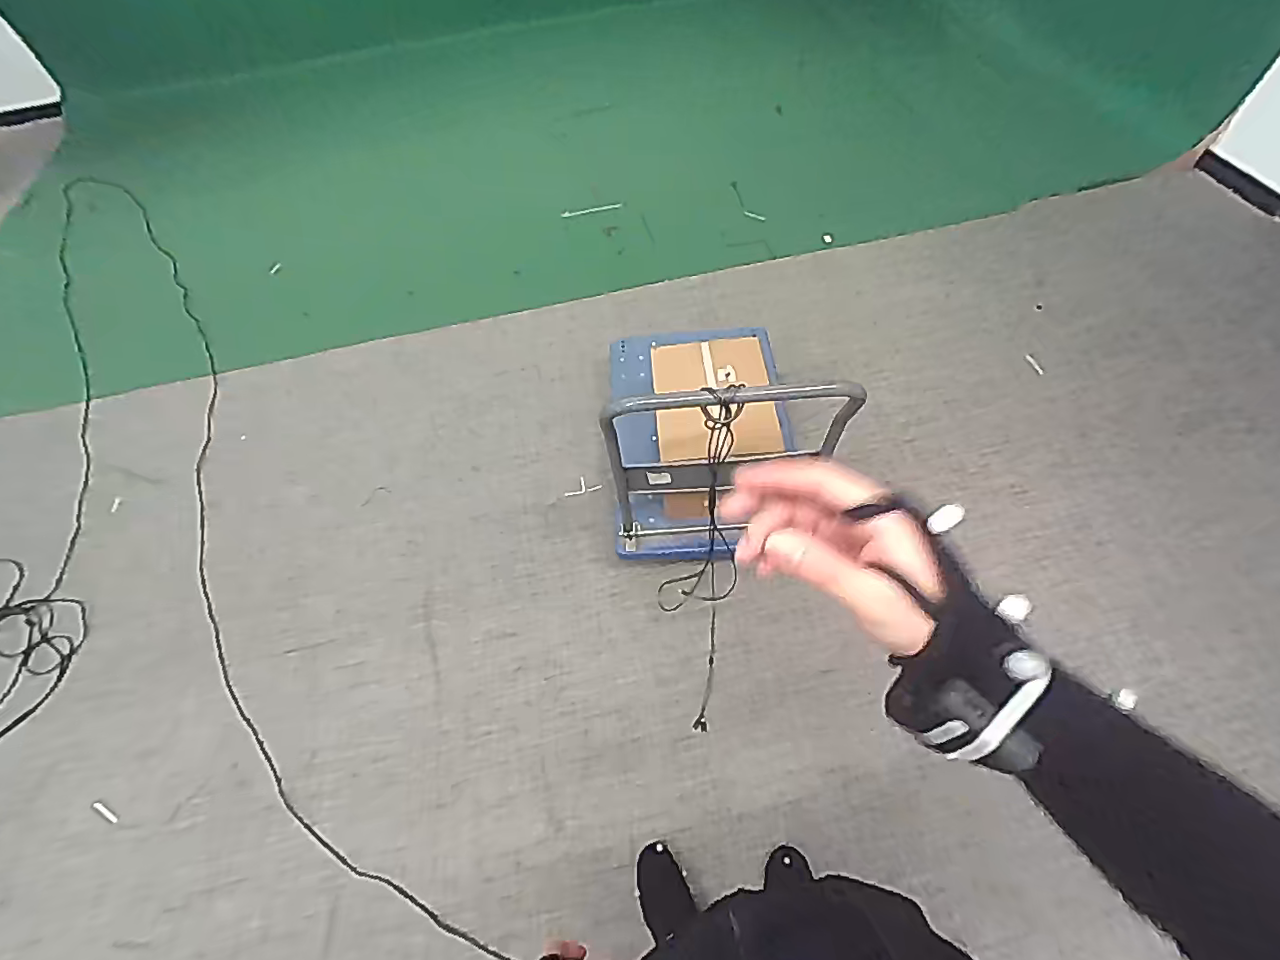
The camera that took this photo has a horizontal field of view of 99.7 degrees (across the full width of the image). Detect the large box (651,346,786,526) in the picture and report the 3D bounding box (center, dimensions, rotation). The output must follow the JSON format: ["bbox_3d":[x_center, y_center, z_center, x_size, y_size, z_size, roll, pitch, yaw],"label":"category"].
[{"bbox_3d":[0.211,-0.122,1.563,0.320,0.320,0.408,-5,57,2],"label":"large box"}]
